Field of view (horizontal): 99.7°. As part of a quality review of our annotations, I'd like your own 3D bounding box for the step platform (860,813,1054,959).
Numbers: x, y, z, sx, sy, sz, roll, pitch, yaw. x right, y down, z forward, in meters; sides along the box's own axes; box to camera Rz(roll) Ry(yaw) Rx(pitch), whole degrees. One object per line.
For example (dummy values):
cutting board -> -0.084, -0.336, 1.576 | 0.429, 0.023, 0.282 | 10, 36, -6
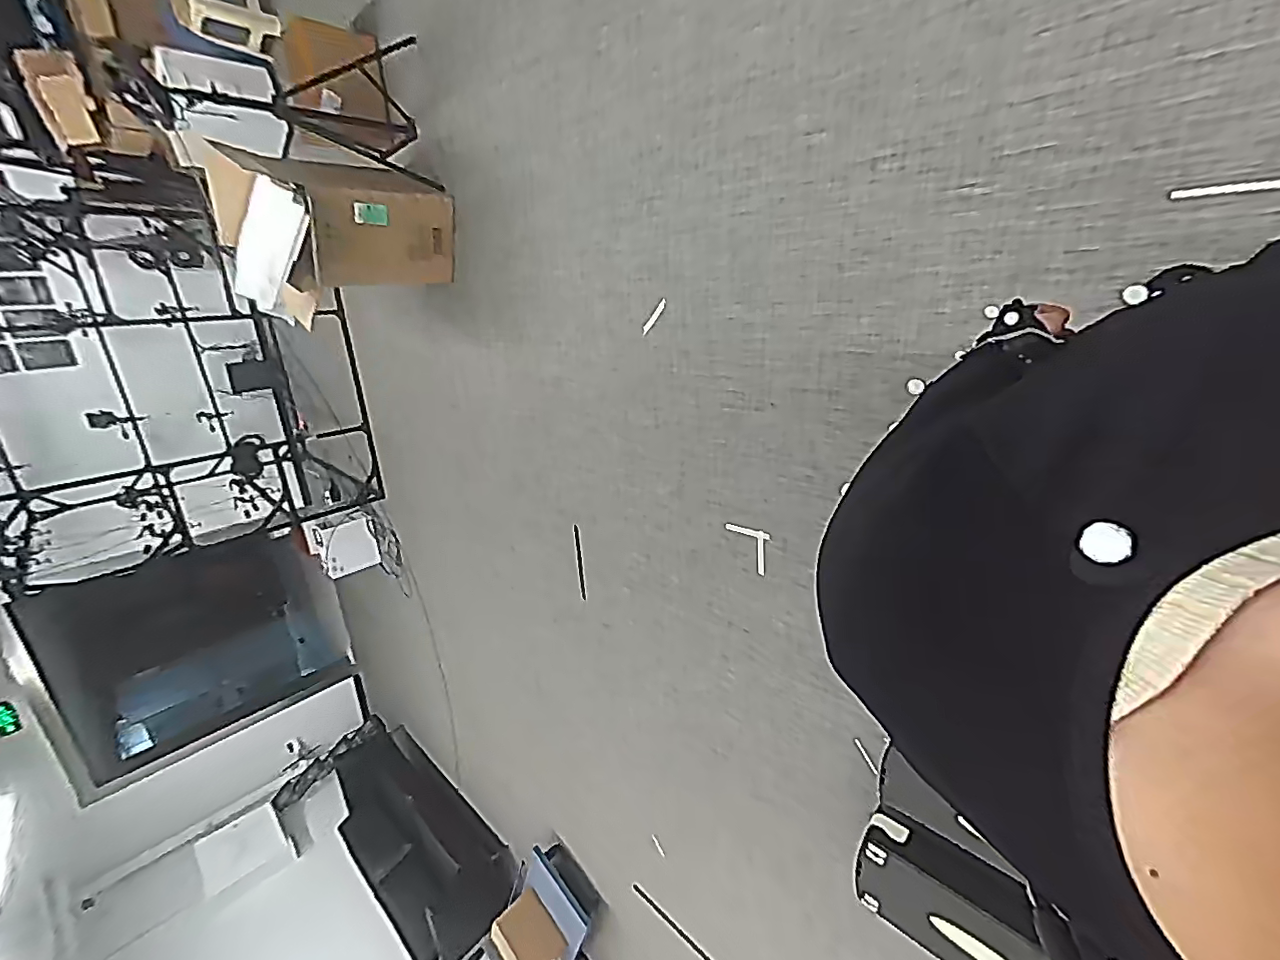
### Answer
step platform -> 0.942, 1.238, 1.416 | 0.684, 0.204, 0.286 | 22, 119, 42
